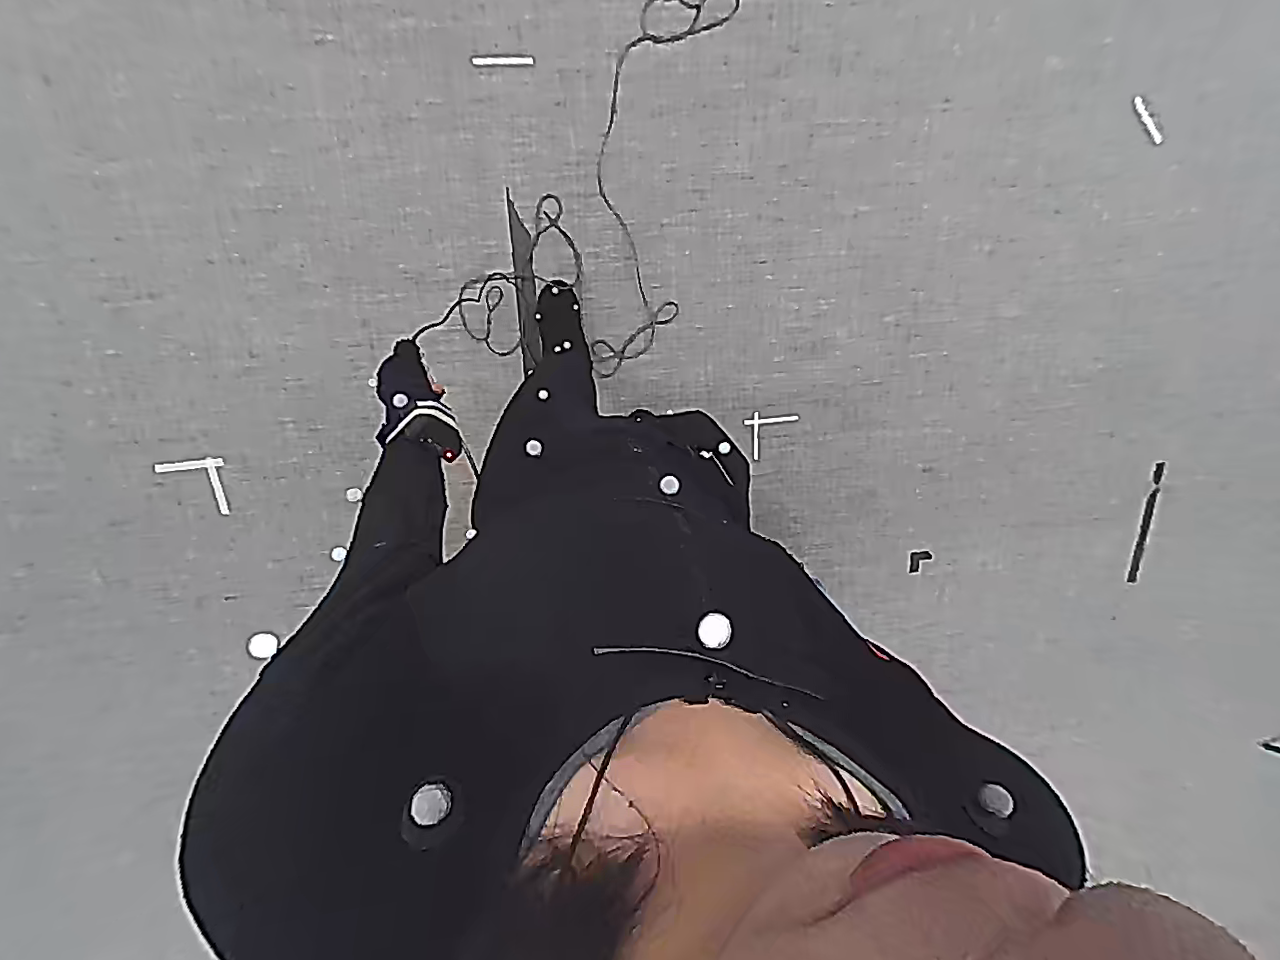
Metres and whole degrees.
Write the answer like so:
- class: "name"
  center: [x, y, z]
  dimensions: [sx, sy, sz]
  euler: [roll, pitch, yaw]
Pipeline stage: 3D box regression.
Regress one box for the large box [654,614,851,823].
- class: "large box"
  center: [0.266, 0.582, 1.369]
  dimensions: [0.408, 0.320, 0.320]
  euler: [-11, 105, 0]
